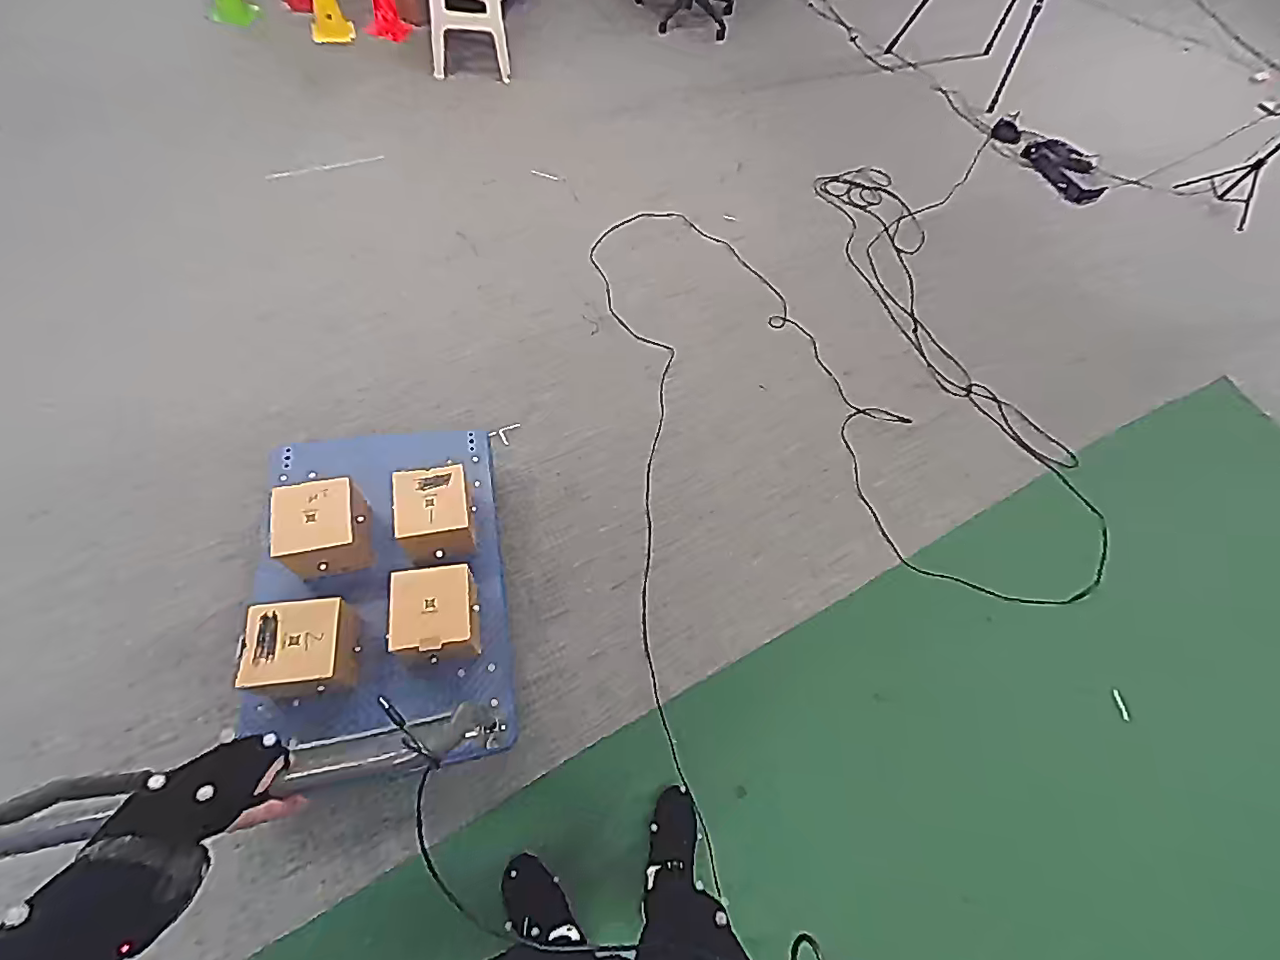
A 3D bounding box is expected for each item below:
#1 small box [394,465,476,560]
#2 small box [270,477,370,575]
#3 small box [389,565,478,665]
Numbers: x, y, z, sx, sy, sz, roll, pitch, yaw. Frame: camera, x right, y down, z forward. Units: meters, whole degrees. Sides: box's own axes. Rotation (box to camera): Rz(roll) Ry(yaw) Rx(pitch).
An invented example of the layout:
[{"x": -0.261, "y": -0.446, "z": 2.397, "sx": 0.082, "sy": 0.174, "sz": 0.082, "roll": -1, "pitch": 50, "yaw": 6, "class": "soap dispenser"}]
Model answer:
[{"x": -0.509, "y": 0.083, "z": 1.352, "sx": 0.168, "sy": 0.176, "sz": 0.179, "roll": -8, "pitch": 65, "yaw": -13, "class": "small box"}, {"x": -0.756, "y": 0.116, "z": 1.292, "sx": 0.168, "sy": 0.176, "sz": 0.179, "roll": -9, "pitch": 64, "yaw": -15, "class": "small box"}, {"x": -0.467, "y": 0.311, "z": 1.240, "sx": 0.168, "sy": 0.176, "sz": 0.179, "roll": -5, "pitch": 64, "yaw": -12, "class": "small box"}]
